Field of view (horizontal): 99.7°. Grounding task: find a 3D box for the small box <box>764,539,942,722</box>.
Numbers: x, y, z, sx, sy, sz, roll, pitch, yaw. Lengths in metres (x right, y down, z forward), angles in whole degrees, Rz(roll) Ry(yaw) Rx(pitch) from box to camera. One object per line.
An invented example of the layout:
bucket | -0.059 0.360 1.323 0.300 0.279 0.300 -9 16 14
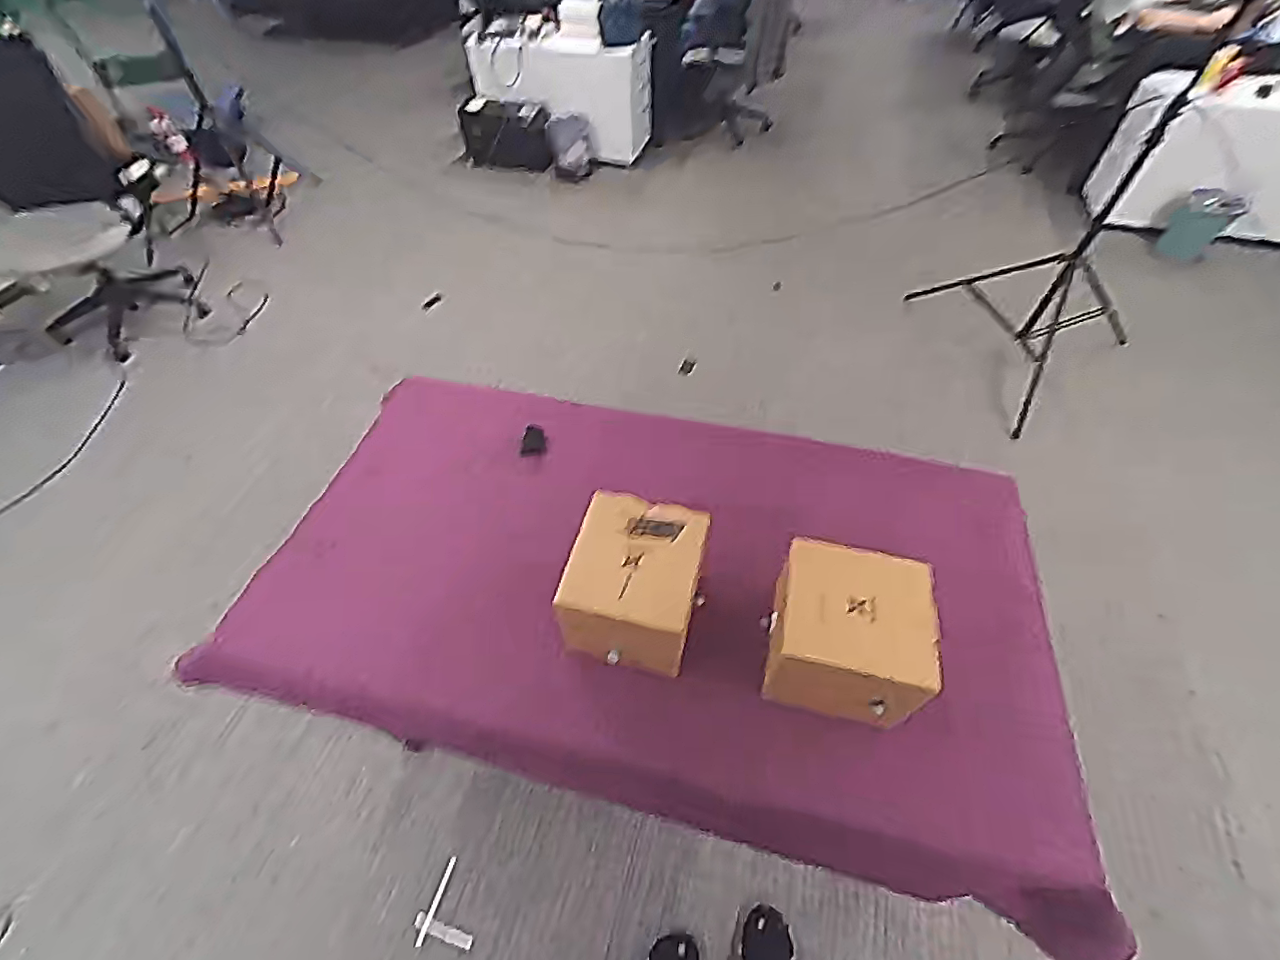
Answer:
small box | 0.273 0.205 0.723 0.179 0.176 0.168 9 51 10

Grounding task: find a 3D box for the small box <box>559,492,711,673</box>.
small box | -0.001 0.148 0.771 0.168 0.176 0.179 11 54 10
